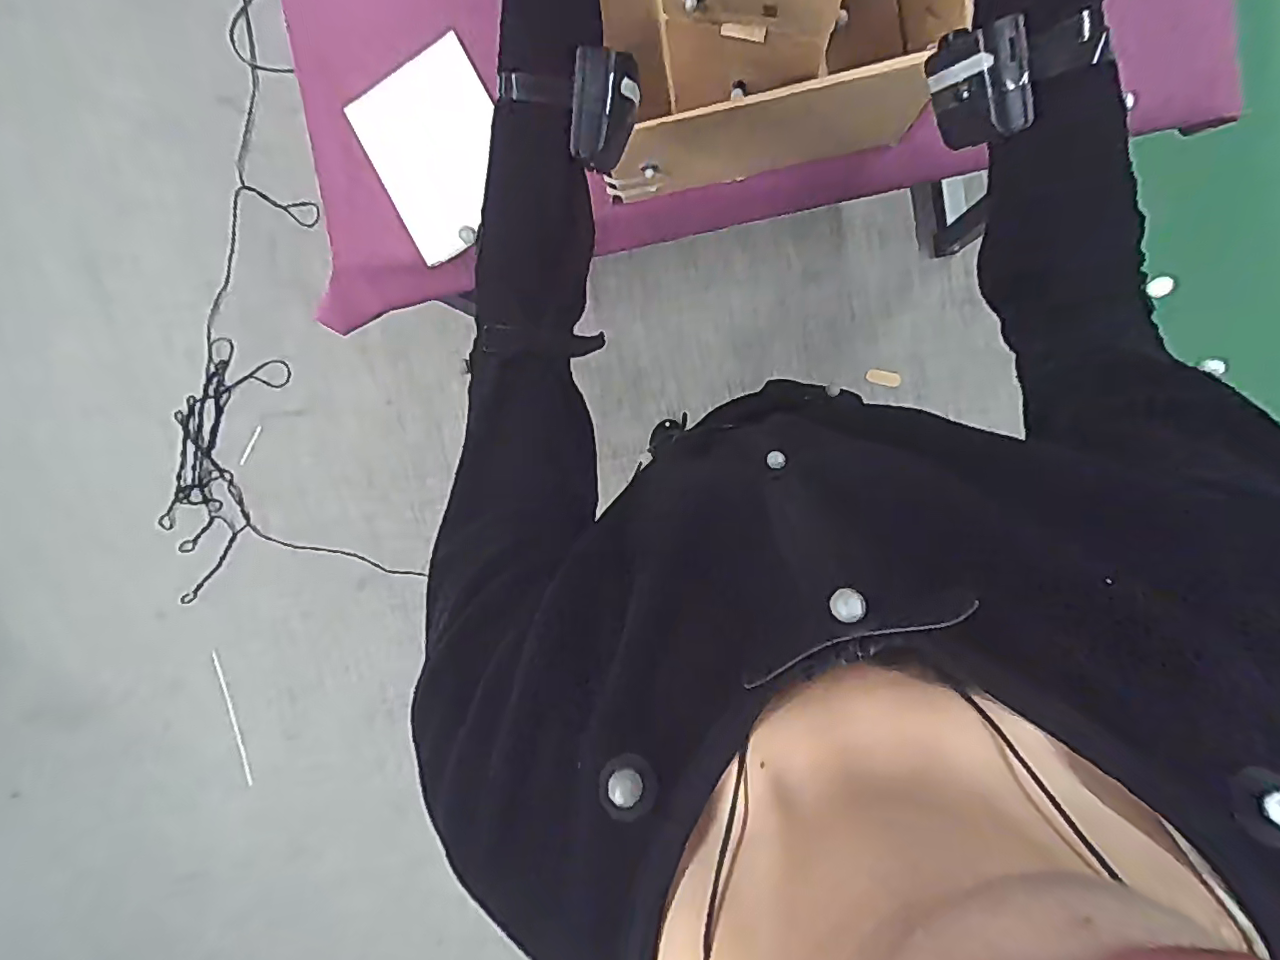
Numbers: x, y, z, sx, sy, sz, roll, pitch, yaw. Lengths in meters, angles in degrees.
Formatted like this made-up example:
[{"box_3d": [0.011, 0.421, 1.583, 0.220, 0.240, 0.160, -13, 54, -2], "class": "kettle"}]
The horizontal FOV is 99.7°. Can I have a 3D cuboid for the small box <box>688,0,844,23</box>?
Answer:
[{"box_3d": [0.110, -0.517, 0.429, 0.168, 0.176, 0.179, 13, 95, 8], "class": "small box"}]
